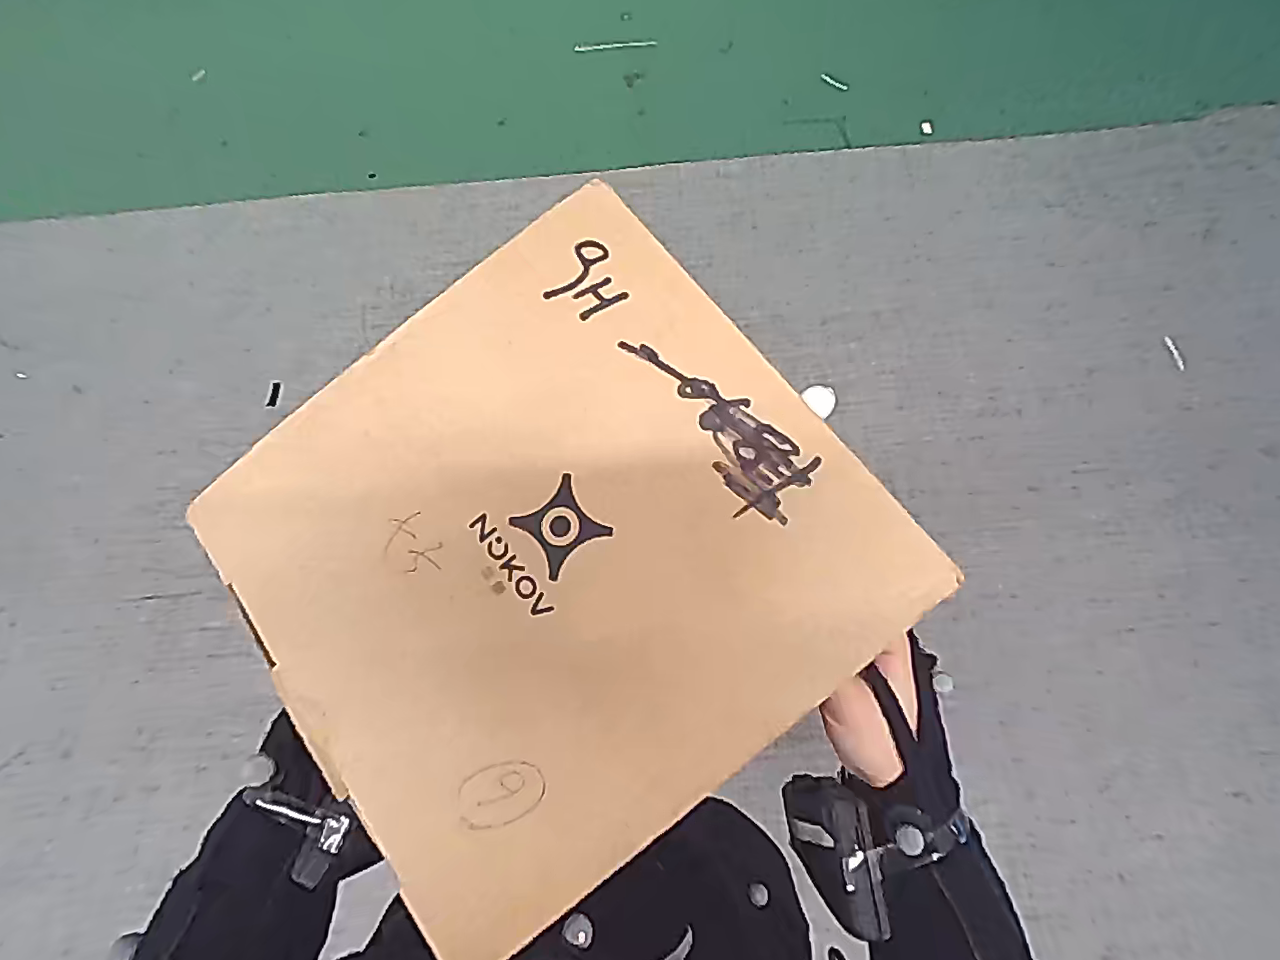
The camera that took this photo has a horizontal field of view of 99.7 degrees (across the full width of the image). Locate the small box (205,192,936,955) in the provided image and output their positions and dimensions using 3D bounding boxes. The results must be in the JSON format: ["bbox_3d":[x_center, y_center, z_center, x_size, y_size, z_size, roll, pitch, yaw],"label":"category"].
[{"bbox_3d":[-0.021,0.031,0.242,0.179,0.176,0.168,-39,78,0],"label":"small box"}]
